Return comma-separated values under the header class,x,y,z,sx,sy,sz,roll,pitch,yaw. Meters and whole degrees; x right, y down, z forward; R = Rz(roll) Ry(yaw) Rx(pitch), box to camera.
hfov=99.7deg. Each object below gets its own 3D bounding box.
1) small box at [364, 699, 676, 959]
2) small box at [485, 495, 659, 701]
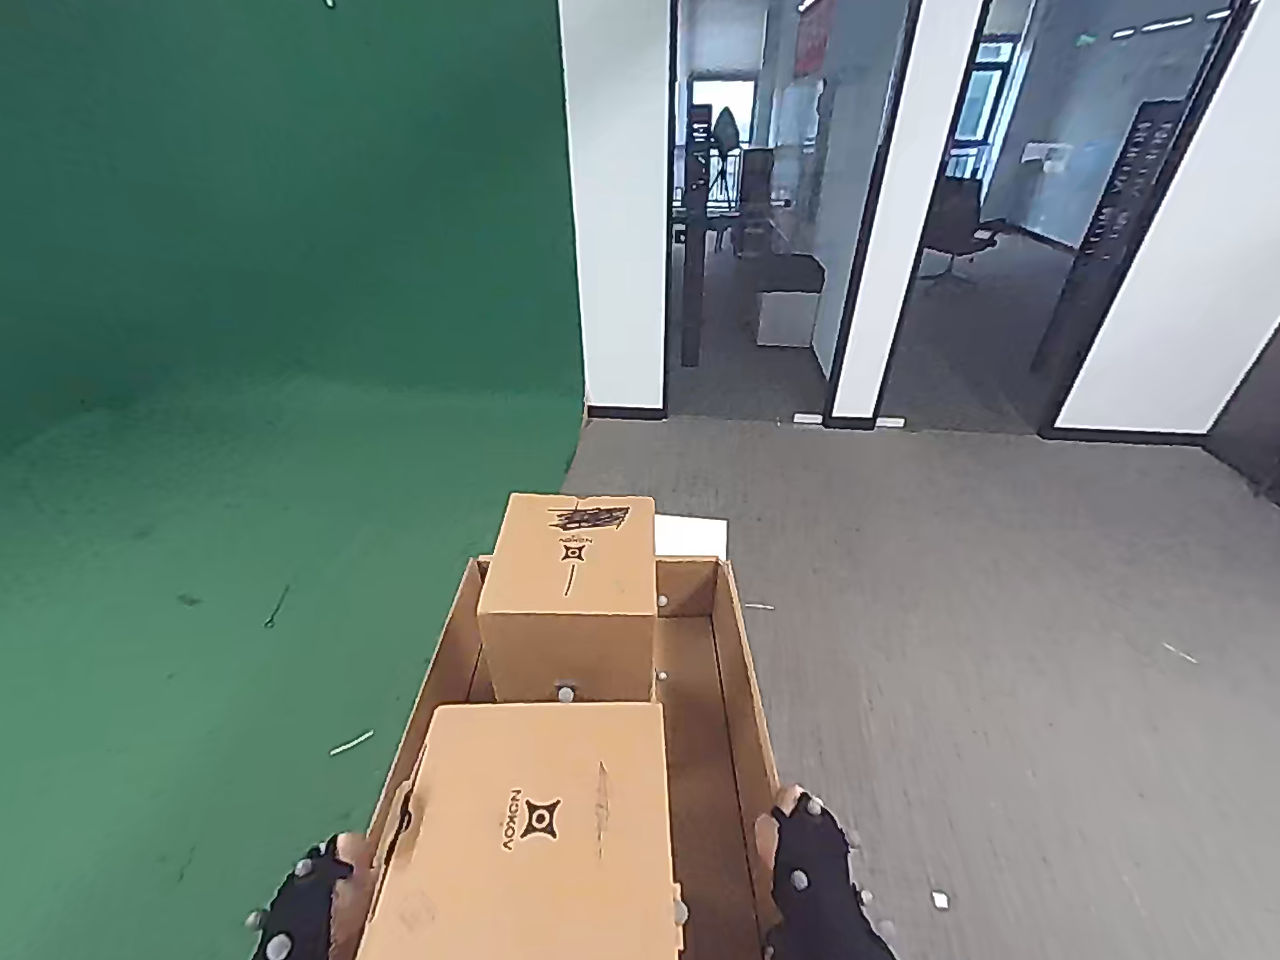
class,x,y,z,sx,sy,sz,roll,pitch,yaw
small box,-0.069,0.287,0.406,0.179,0.176,0.168,1,35,-2
small box,-0.066,0.137,0.614,0.168,0.176,0.179,2,37,-1
